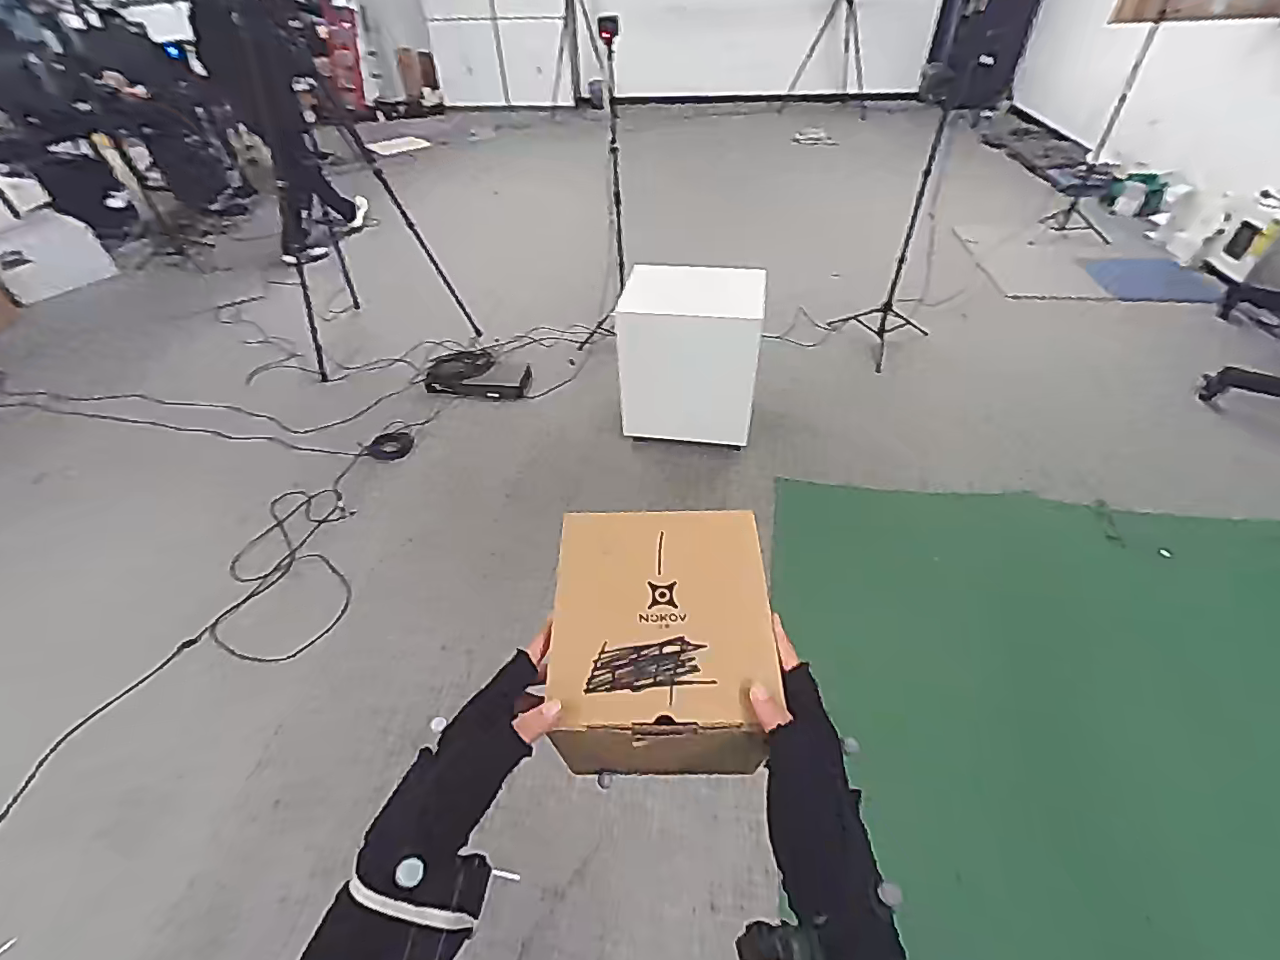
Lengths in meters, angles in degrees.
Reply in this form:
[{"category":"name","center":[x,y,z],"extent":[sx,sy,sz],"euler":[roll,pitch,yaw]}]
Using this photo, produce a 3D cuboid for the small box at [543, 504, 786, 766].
[{"category":"small box","center":[0.021,0.138,0.470],"extent":[0.168,0.176,0.179],"euler":[0,51,1]}]
